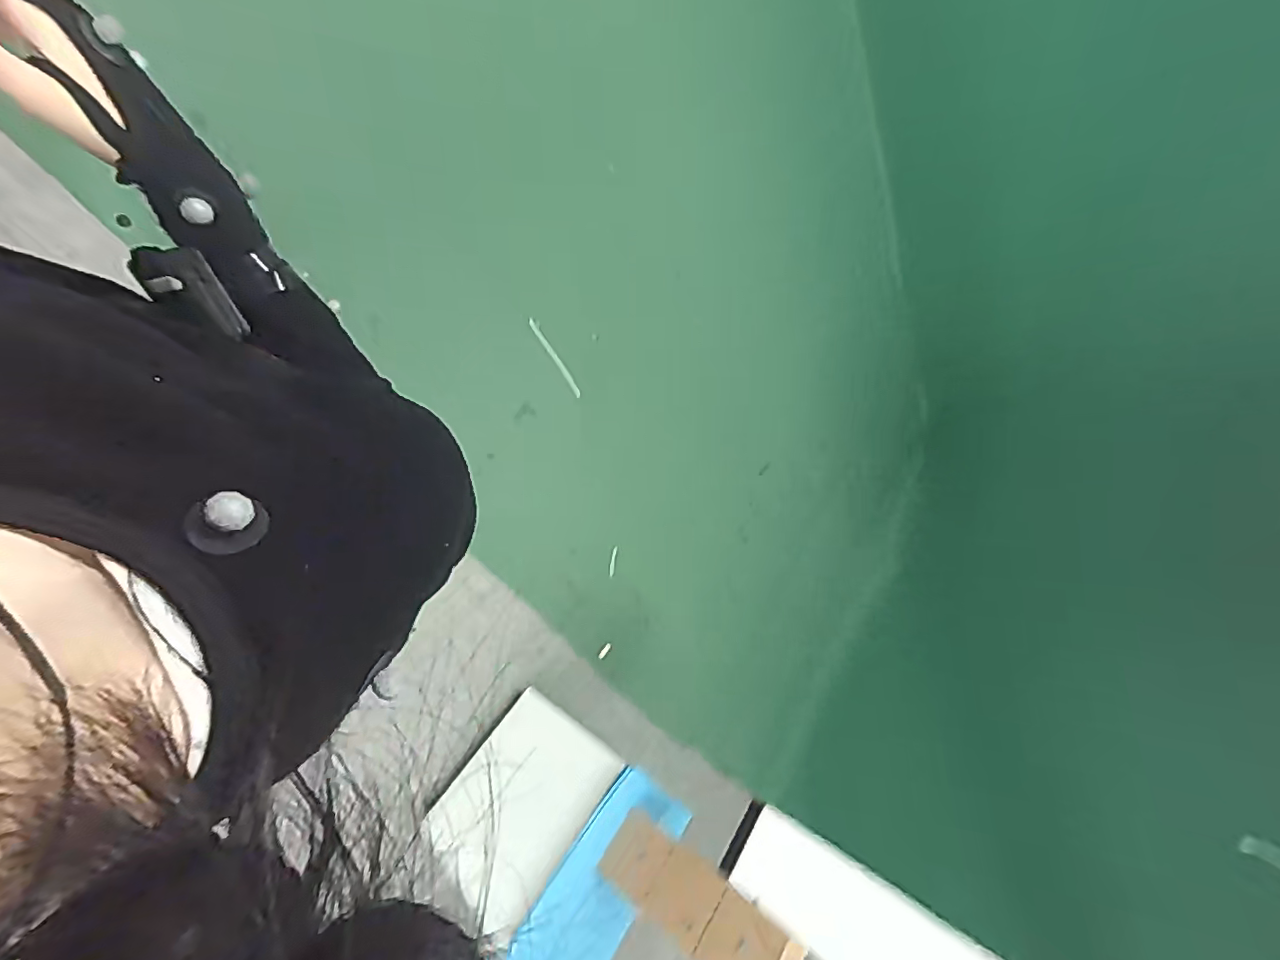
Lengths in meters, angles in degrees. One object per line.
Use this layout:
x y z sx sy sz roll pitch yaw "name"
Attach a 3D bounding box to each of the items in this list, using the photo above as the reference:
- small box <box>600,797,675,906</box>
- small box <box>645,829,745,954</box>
0.014 1.023 1.488 0.179 0.176 0.168 -52 132 -24 "small box"
0.134 1.043 1.377 0.179 0.176 0.168 -52 132 -23 "small box"
